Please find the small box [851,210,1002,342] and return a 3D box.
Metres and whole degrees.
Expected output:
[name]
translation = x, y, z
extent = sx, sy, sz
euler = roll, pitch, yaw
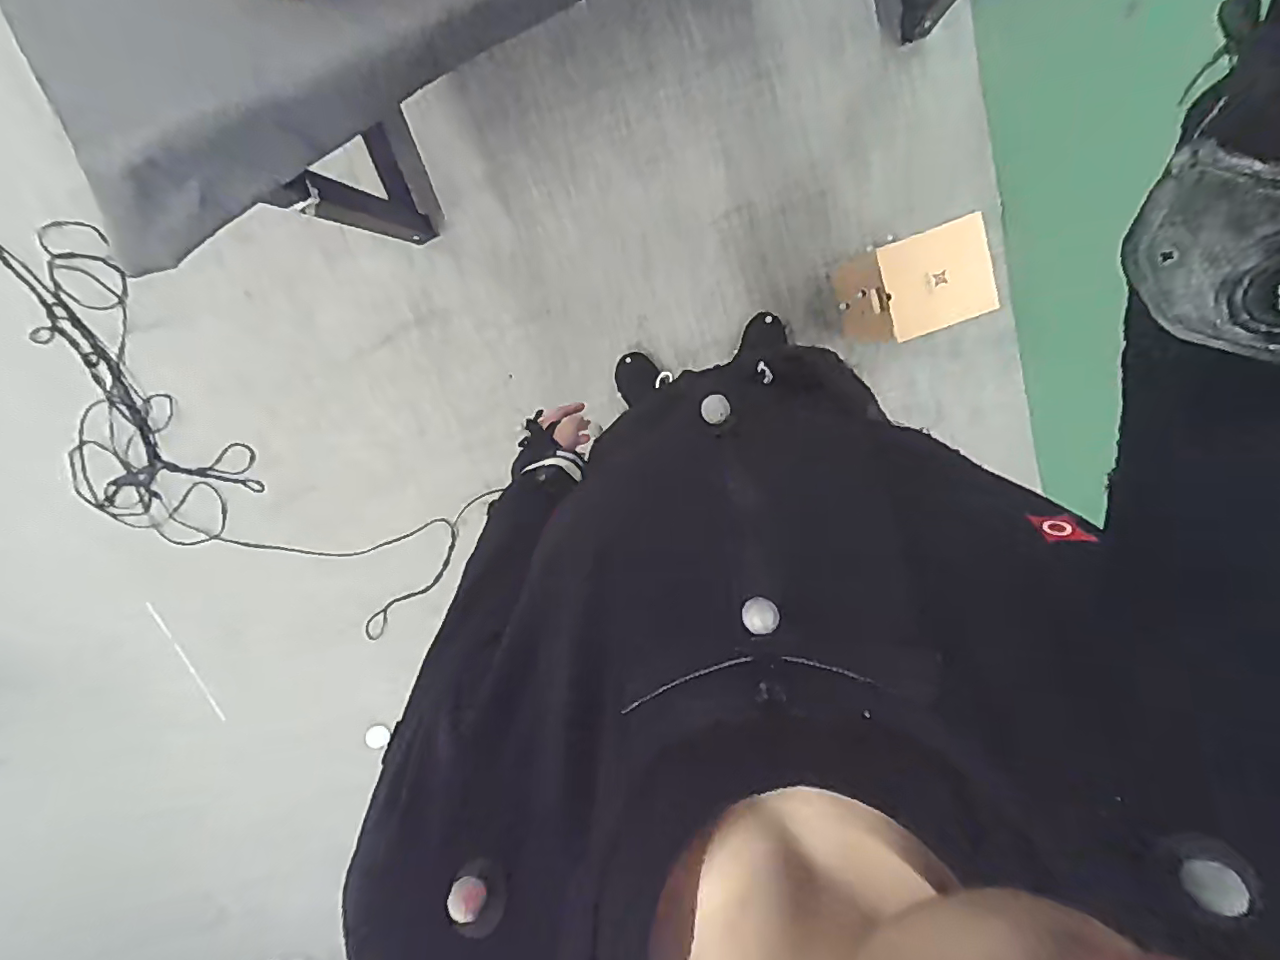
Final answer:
[small box]
translation = 0.510, -0.363, 0.982
extent = 0.179, 0.176, 0.168
euler = -19, 104, 11
